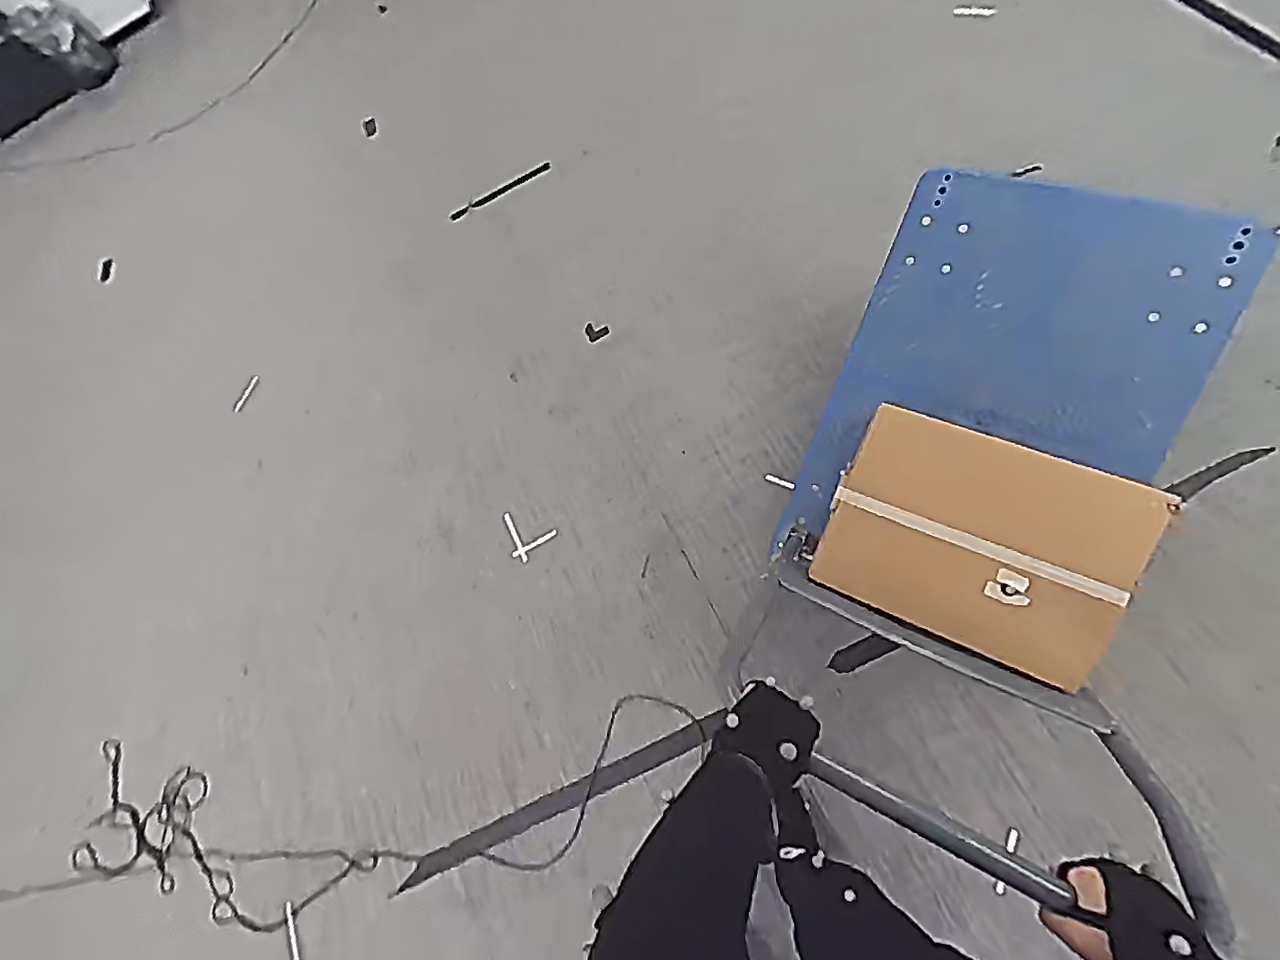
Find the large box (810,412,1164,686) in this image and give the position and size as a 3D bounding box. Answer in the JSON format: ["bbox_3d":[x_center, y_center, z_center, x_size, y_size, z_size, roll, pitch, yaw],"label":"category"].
[{"bbox_3d":[0.561,0.091,0.977,0.408,0.320,0.320,23,101,18],"label":"large box"}]
